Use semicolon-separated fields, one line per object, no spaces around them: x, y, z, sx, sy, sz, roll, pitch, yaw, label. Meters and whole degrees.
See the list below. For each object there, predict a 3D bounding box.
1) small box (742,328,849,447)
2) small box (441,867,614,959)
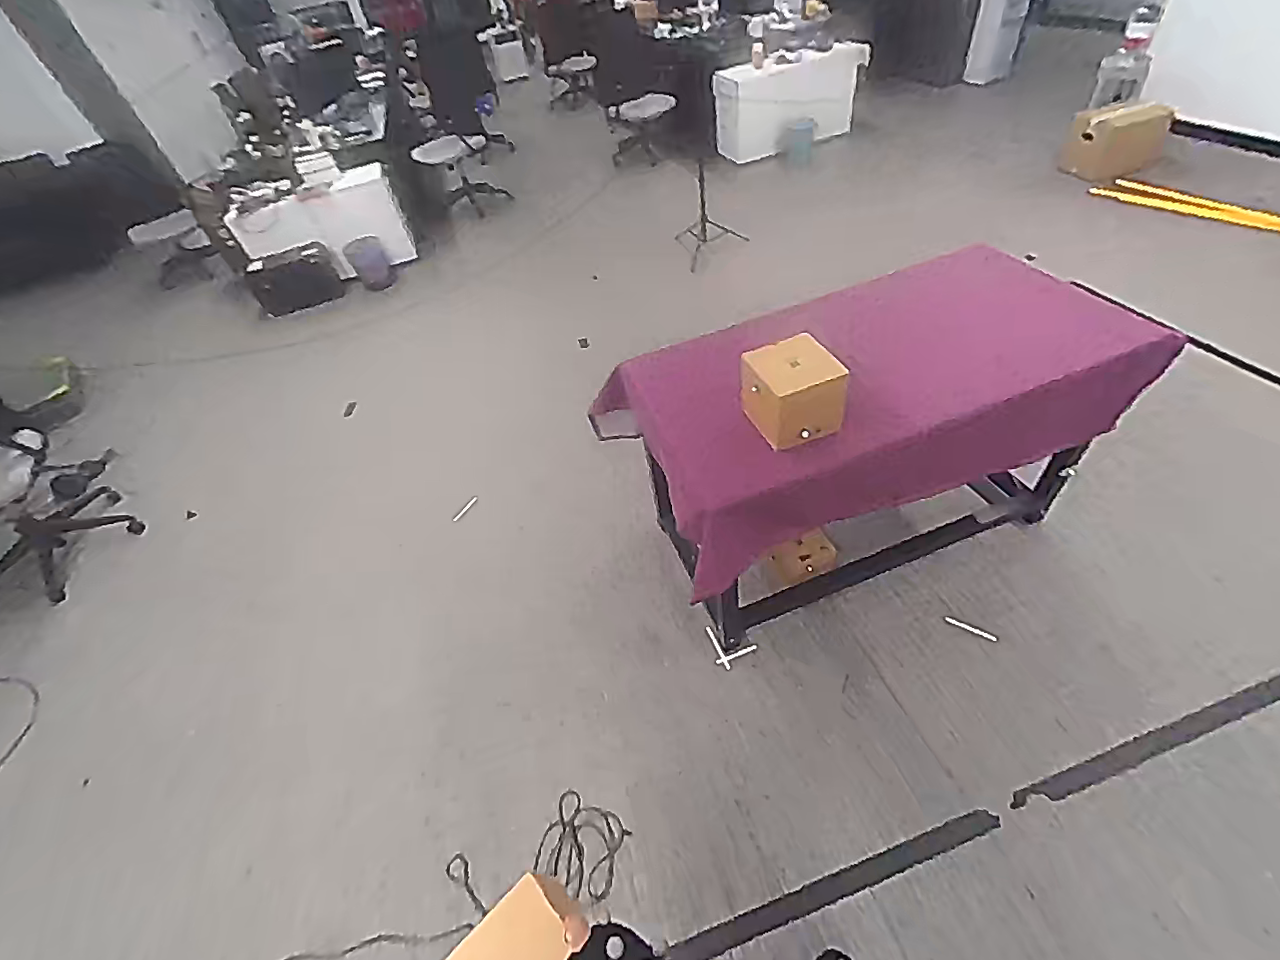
0.337;-0.205;1.207;0.168;0.176;0.179;-20;48;-5;small box
-0.129;0.600;0.627;0.179;0.176;0.168;-37;56;-24;small box
